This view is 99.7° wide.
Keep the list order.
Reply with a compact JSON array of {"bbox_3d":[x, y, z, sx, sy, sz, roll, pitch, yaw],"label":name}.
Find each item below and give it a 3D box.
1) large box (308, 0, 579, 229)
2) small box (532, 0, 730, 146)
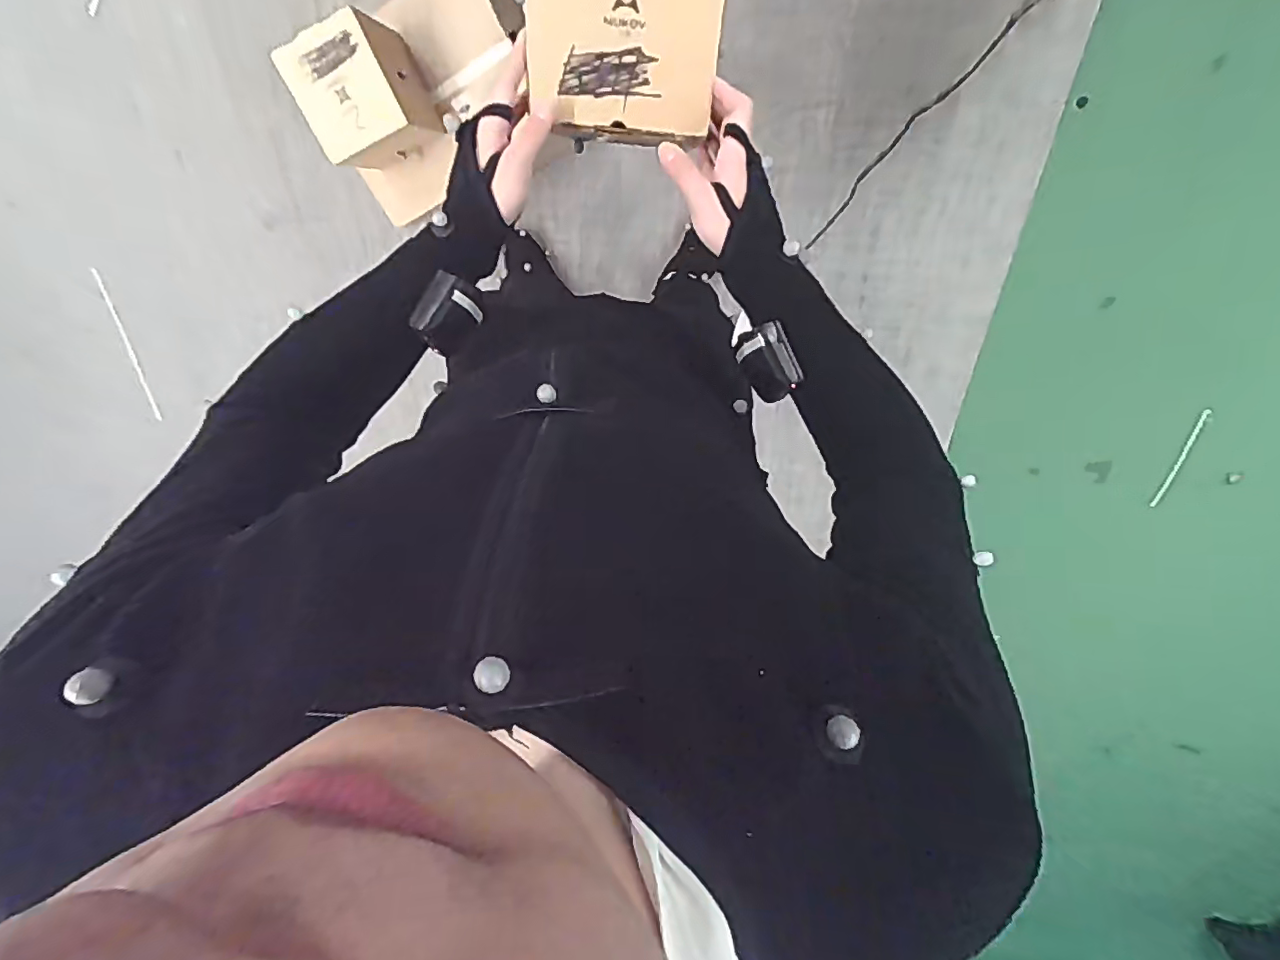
[{"bbox_3d":[-0.397,-0.800,1.185,0.408,0.320,0.320,-22,114,15],"label":"large box"},{"bbox_3d":[-0.006,-0.430,0.515,0.168,0.176,0.179,4,118,-2],"label":"small box"}]
